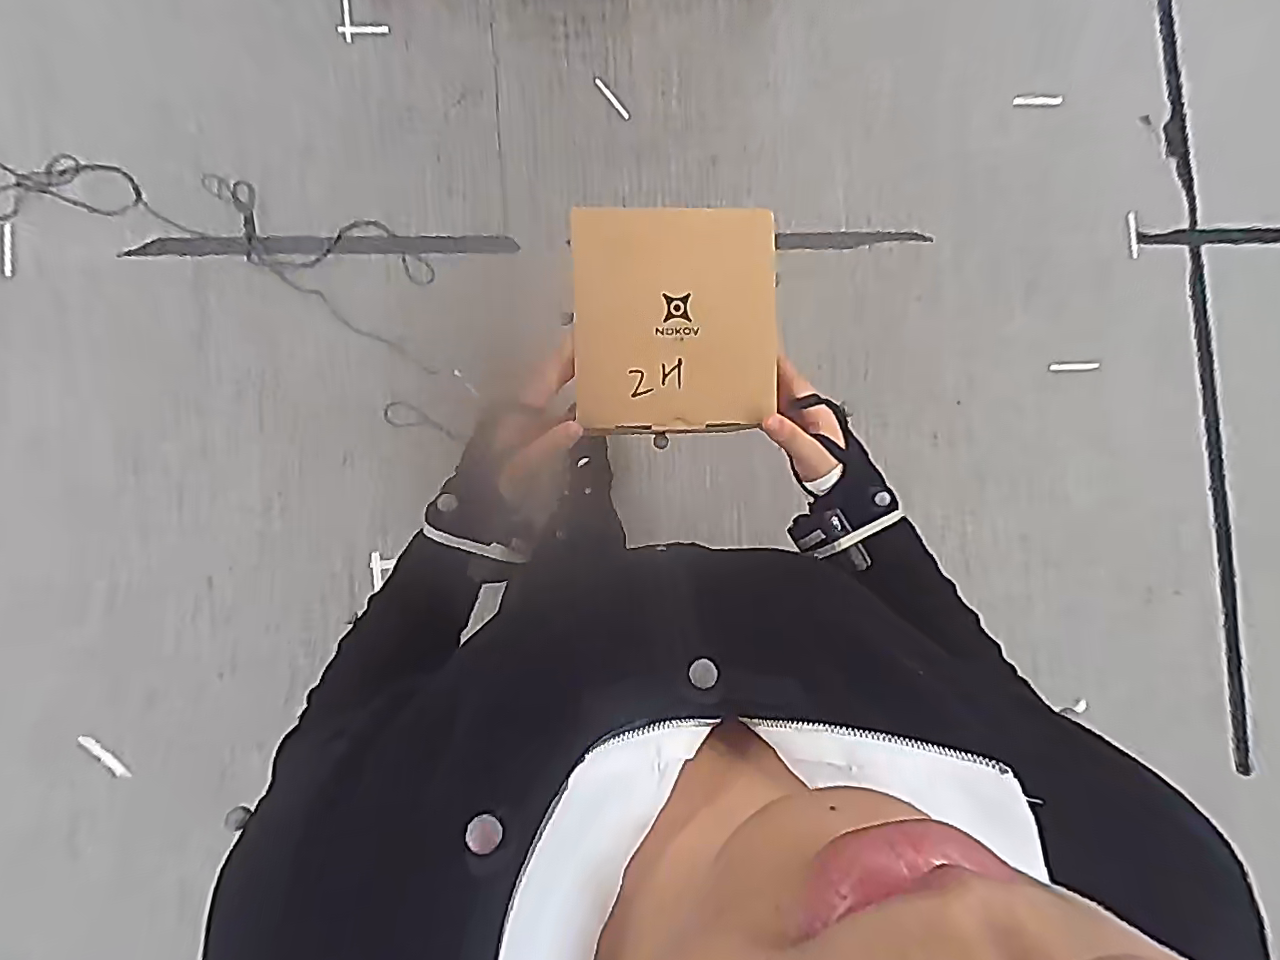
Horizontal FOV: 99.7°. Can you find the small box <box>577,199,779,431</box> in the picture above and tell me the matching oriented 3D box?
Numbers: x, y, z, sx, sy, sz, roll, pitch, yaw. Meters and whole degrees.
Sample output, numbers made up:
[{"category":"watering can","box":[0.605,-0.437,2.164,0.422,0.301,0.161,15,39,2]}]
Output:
[{"category":"small box","box":[0.025,-0.140,0.515,0.168,0.176,0.179,-2,93,-4]}]
